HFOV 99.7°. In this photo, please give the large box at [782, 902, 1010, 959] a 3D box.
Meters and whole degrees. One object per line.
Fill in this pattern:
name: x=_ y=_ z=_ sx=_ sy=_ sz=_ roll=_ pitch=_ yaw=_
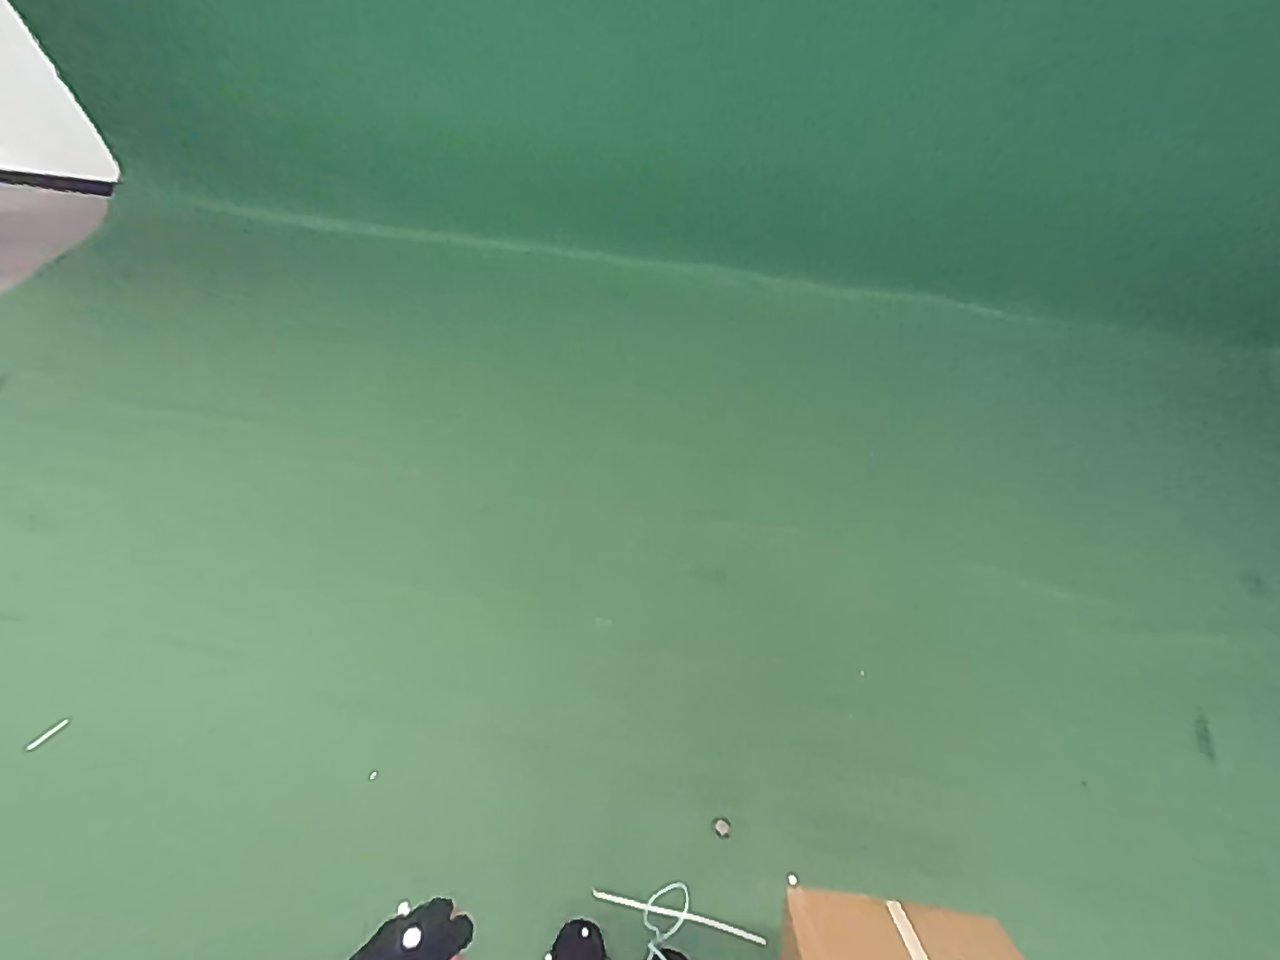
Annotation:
large box: x=0.348 y=0.811 z=0.626 sx=0.320 sy=0.408 sz=0.320 roll=6 pitch=90 yaw=5
